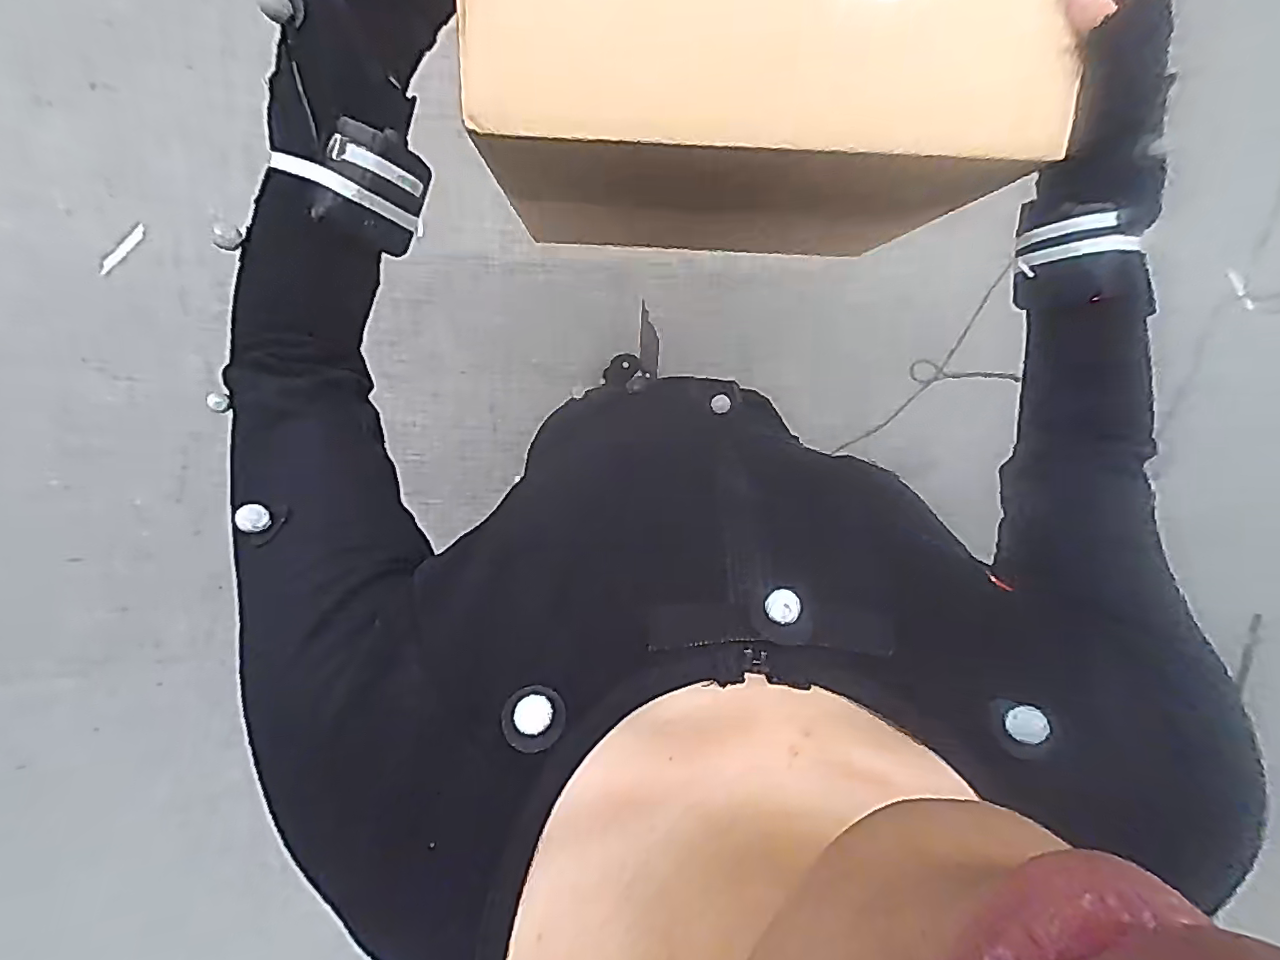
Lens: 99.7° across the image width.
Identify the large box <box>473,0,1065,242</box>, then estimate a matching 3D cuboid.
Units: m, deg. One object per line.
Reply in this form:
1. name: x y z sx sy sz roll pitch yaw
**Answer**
1. large box: 0.080 -0.416 0.488 0.408 0.320 0.320 1 102 -4
